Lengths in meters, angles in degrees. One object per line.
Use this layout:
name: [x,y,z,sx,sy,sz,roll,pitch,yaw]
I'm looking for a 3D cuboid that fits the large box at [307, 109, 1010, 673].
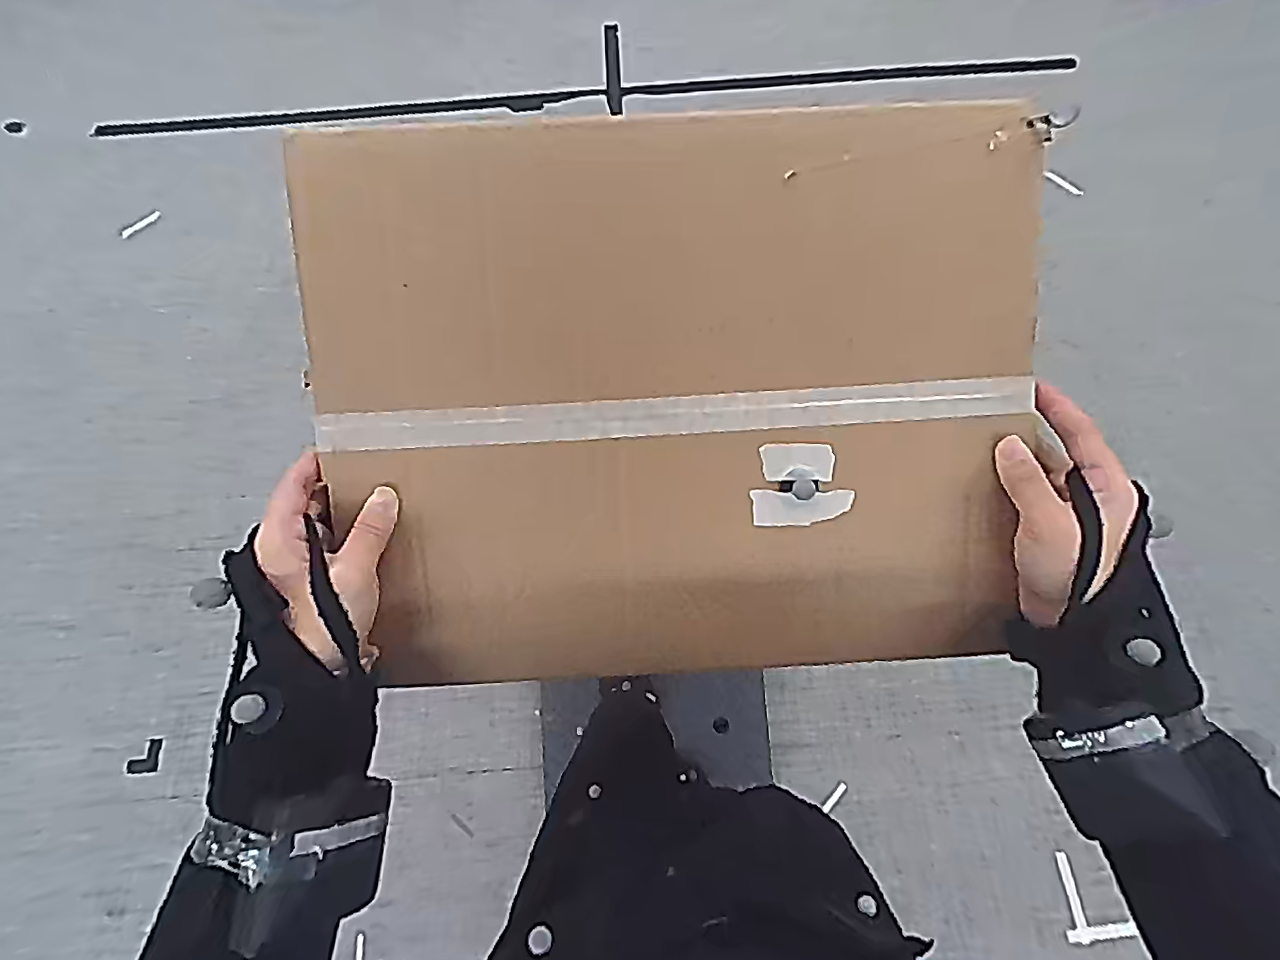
large box: [0.016,-0.063,0.470,0.408,0.320,0.320,-4,98,-1]
